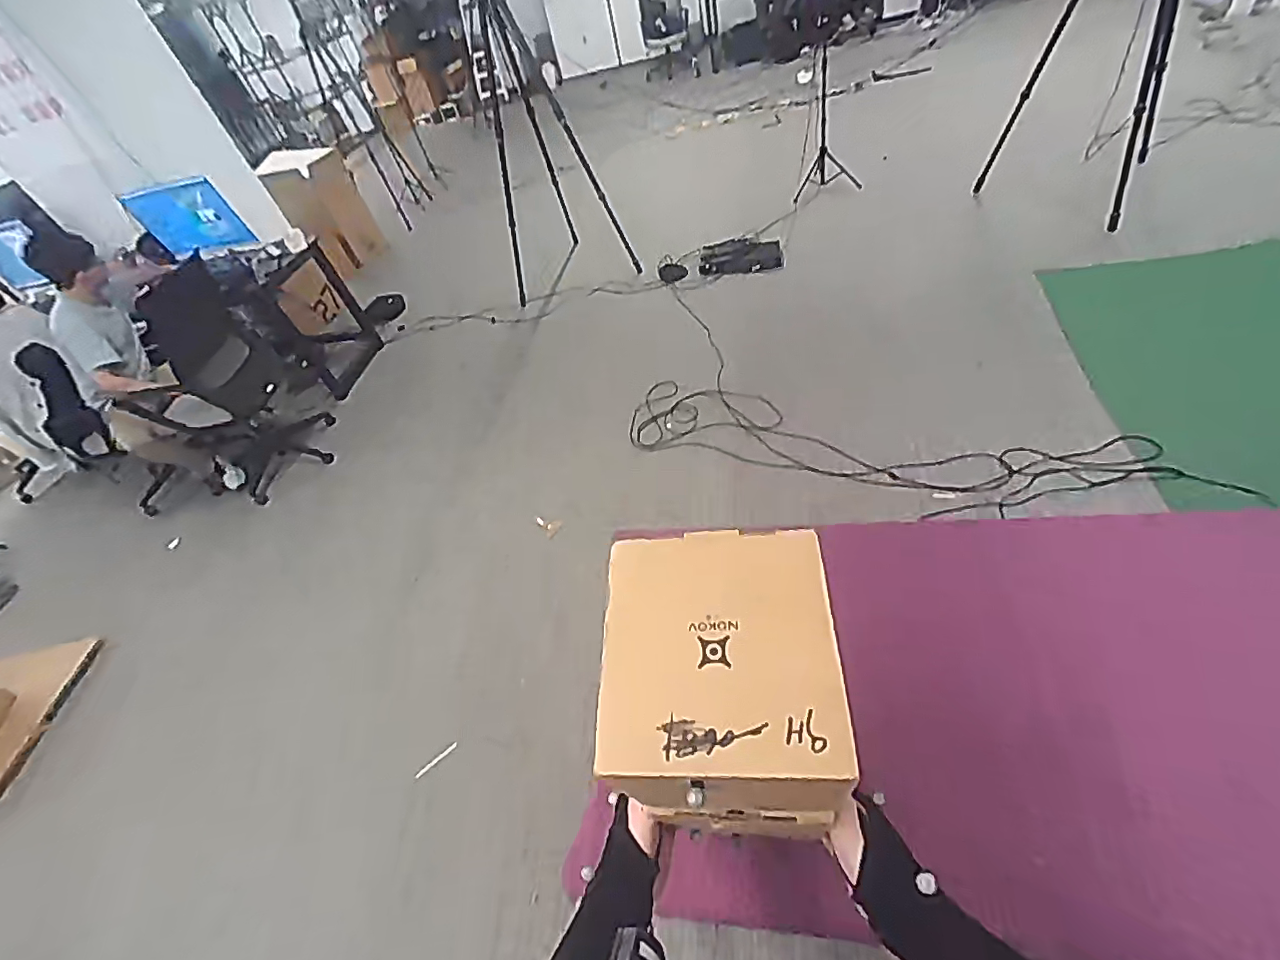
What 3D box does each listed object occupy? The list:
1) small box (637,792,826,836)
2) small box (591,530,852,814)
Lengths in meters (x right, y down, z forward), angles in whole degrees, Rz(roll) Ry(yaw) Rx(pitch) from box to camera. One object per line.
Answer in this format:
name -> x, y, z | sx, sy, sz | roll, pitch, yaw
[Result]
small box -> 0.099, 0.264, 0.572 | 0.168, 0.176, 0.179 | -4, 52, 11
small box -> 0.068, 0.161, 0.448 | 0.168, 0.176, 0.179 | -5, 52, 11
